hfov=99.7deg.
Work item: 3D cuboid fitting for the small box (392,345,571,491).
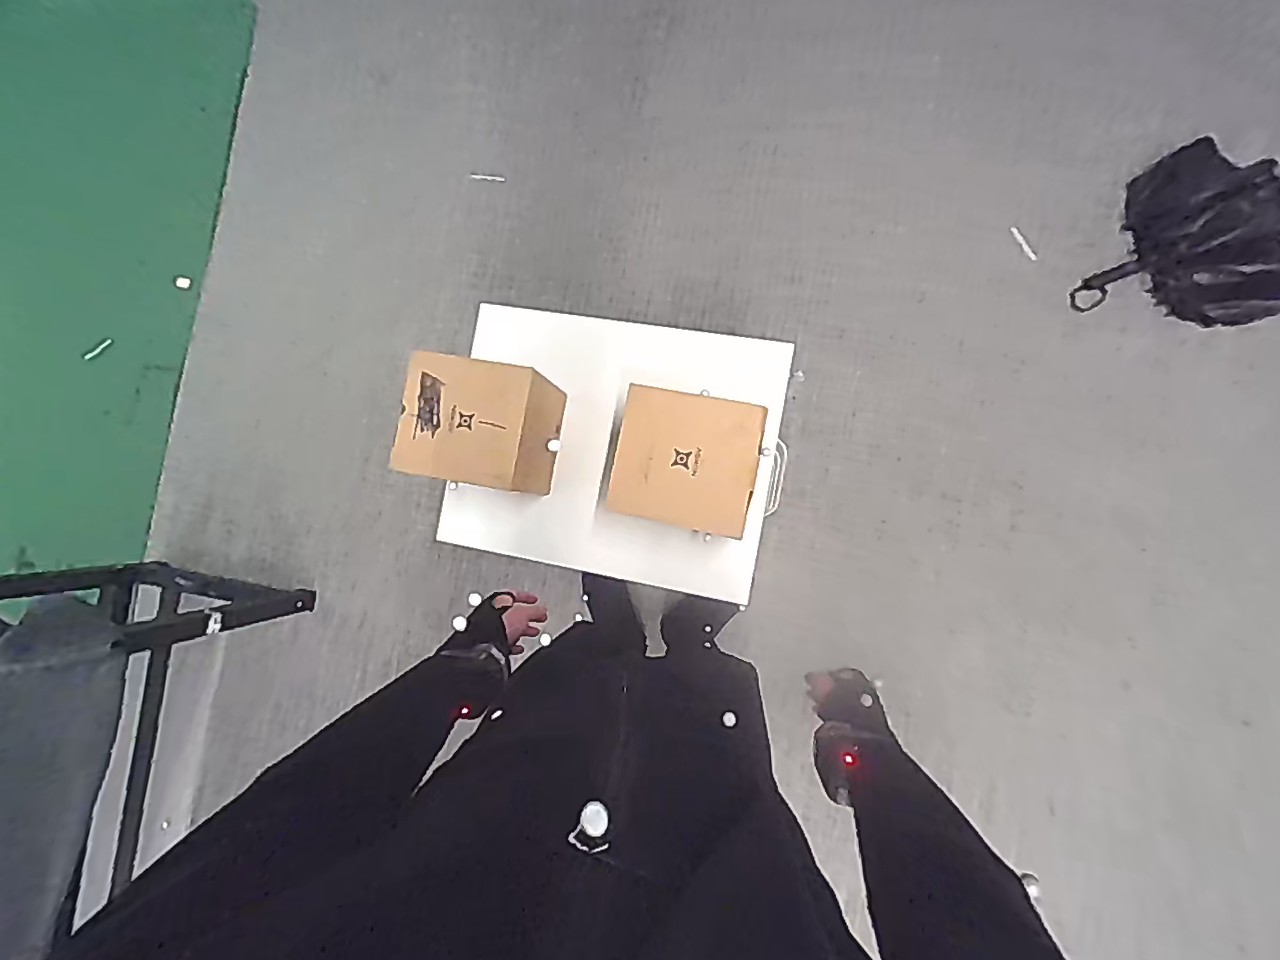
[{"bbox_3d":[-0.214,-0.078,0.773,0.179,0.176,0.168,11,89,7],"label":"small box"}]

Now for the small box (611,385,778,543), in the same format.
[{"bbox_3d":[0.077,-0.017,0.730,0.179,0.176,0.168,12,88,10],"label":"small box"}]
